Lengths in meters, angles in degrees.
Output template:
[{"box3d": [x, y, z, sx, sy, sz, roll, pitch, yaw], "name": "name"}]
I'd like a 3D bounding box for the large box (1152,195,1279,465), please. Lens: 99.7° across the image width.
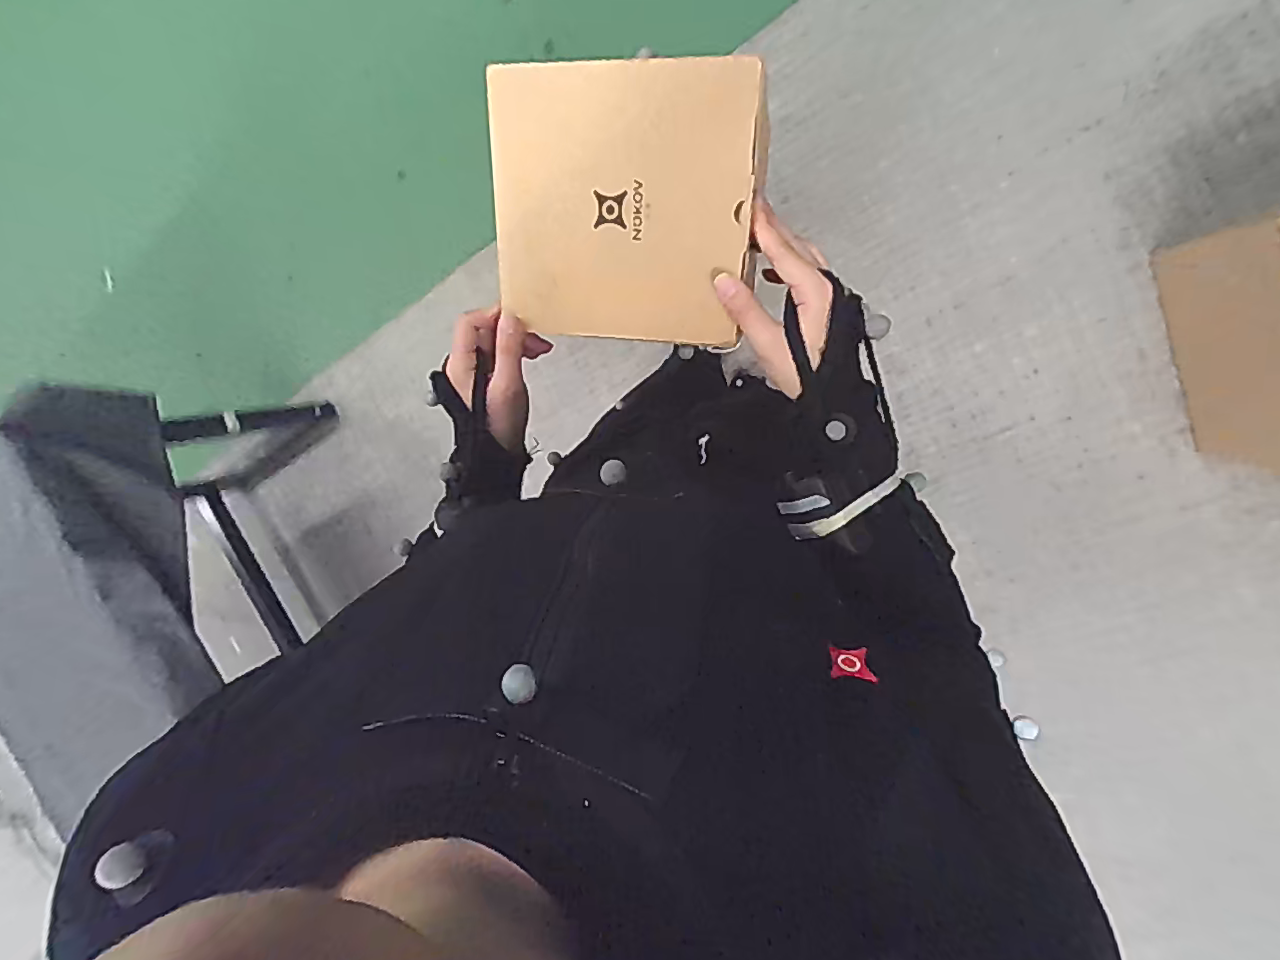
[{"box3d": [1.092, -0.257, 0.816, 0.320, 0.320, 0.408, -19, 97, 22], "name": "large box"}]
